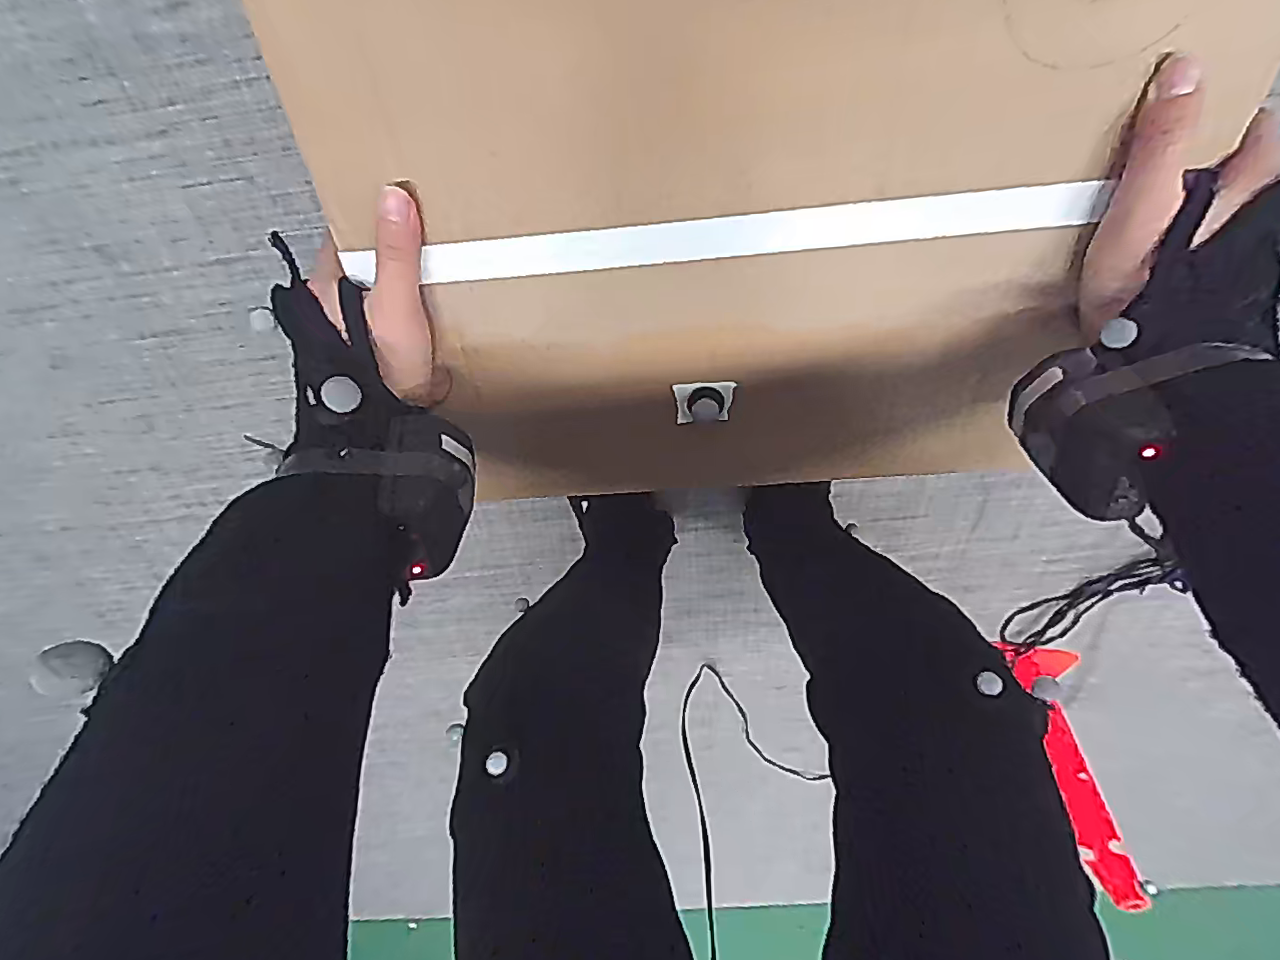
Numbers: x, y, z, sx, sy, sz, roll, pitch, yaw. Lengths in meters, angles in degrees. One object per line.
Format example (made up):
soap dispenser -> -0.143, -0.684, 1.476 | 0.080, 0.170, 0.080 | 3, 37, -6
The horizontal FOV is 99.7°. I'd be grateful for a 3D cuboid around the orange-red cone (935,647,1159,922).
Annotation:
orange-red cone -> 0.680, 0.480, 0.868 | 0.199, 0.360, 0.198 | 10, 128, -9
